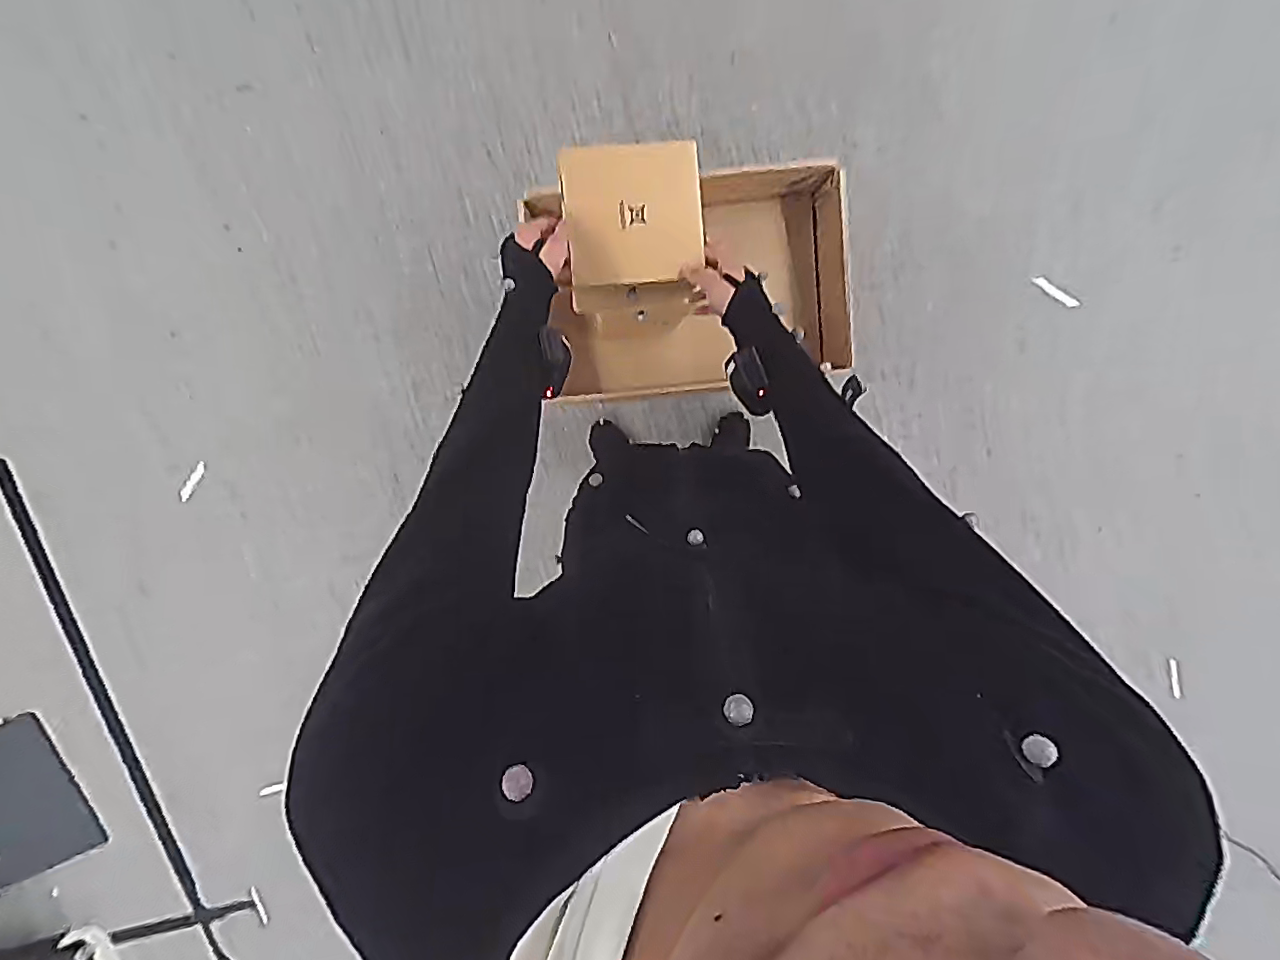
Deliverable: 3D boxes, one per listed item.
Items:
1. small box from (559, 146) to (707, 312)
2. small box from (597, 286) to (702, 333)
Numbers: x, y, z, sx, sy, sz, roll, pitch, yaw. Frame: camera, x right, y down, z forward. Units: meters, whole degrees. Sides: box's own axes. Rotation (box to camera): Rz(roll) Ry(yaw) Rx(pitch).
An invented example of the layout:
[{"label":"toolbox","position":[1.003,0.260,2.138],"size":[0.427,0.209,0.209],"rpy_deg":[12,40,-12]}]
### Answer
[{"label":"small box","position":[-0.013,-0.337,0.754],"size":[0.179,0.176,0.168],"rpy_deg":[-6,97,-3]},{"label":"small box","position":[0.000,-0.361,0.917],"size":[0.168,0.176,0.179],"rpy_deg":[-9,97,-3]}]
